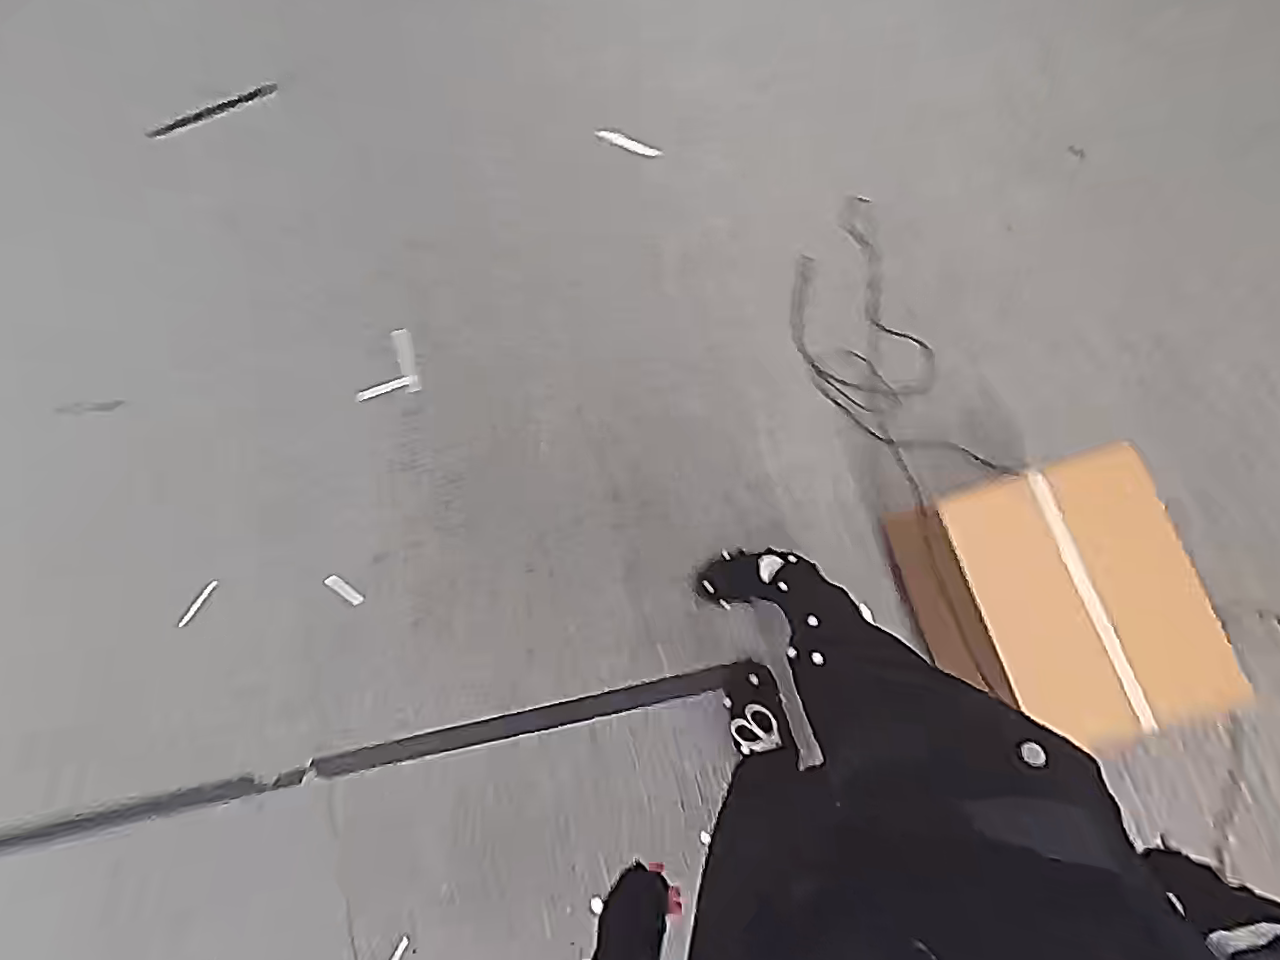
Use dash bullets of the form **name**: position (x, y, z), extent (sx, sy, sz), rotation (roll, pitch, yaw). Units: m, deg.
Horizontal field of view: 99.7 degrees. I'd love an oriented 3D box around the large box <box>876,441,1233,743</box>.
- **large box**: position (0.696, 0.189, 0.991), extent (0.320, 0.320, 0.408), rotation (-19, 80, 4)
